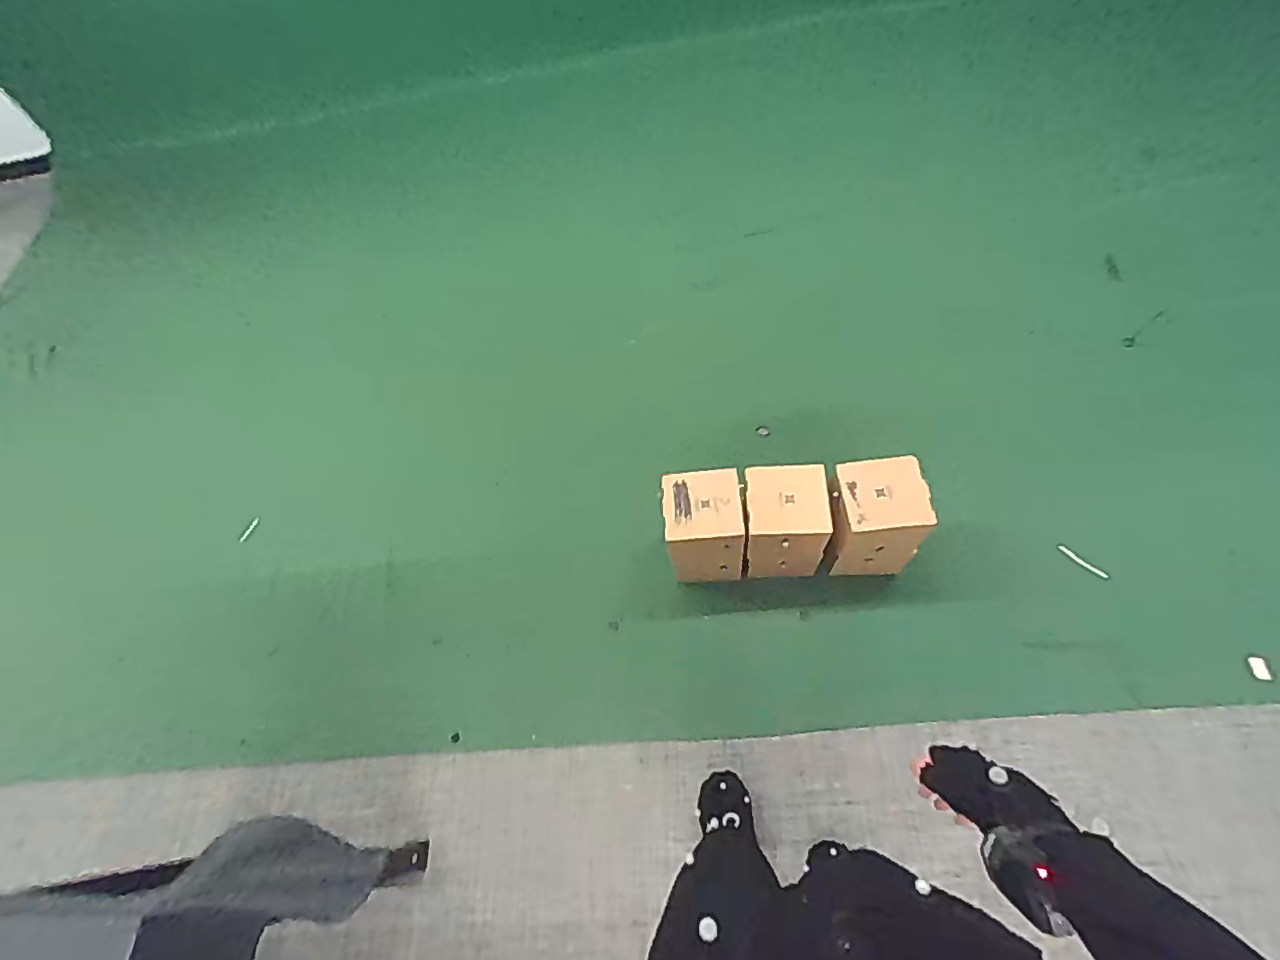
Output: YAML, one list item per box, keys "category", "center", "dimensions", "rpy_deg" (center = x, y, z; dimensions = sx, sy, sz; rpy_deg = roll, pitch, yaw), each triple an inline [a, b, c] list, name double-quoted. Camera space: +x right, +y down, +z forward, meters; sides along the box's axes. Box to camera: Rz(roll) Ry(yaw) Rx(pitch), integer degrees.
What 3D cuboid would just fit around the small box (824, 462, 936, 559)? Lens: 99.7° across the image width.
- category: "small box"
  center: [0.537, 0.074, 1.236]
  dimensions: [0.179, 0.176, 0.168]
  rpy_deg: [-6, 62, 5]
